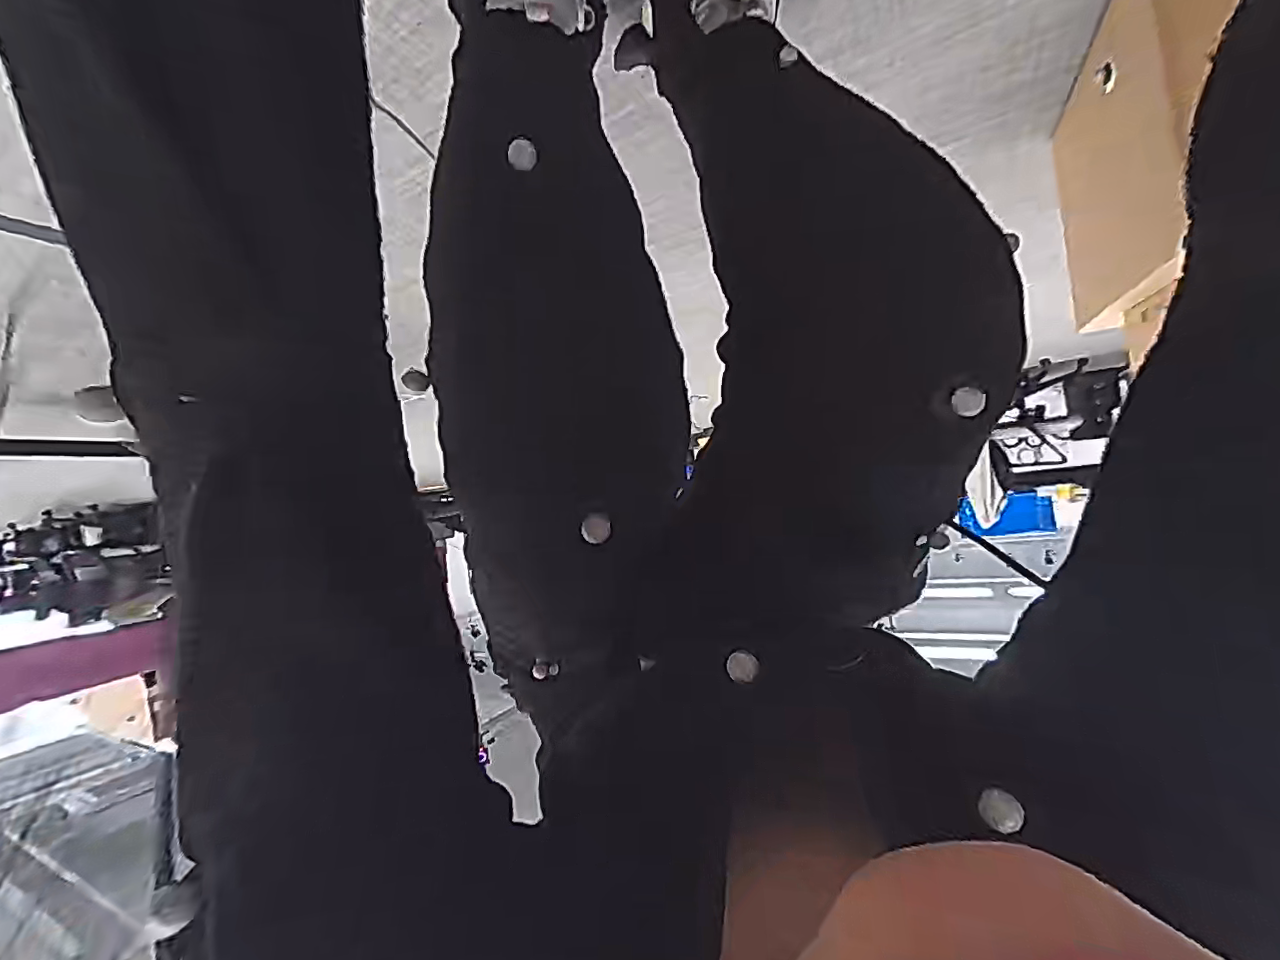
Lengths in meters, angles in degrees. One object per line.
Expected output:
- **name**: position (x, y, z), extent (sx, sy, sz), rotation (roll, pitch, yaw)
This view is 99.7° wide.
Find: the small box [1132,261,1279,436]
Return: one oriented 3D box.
- **small box**: position (0.719, -0.152, 0.628), extent (0.179, 0.176, 0.168), rotation (-8, 178, 24)
